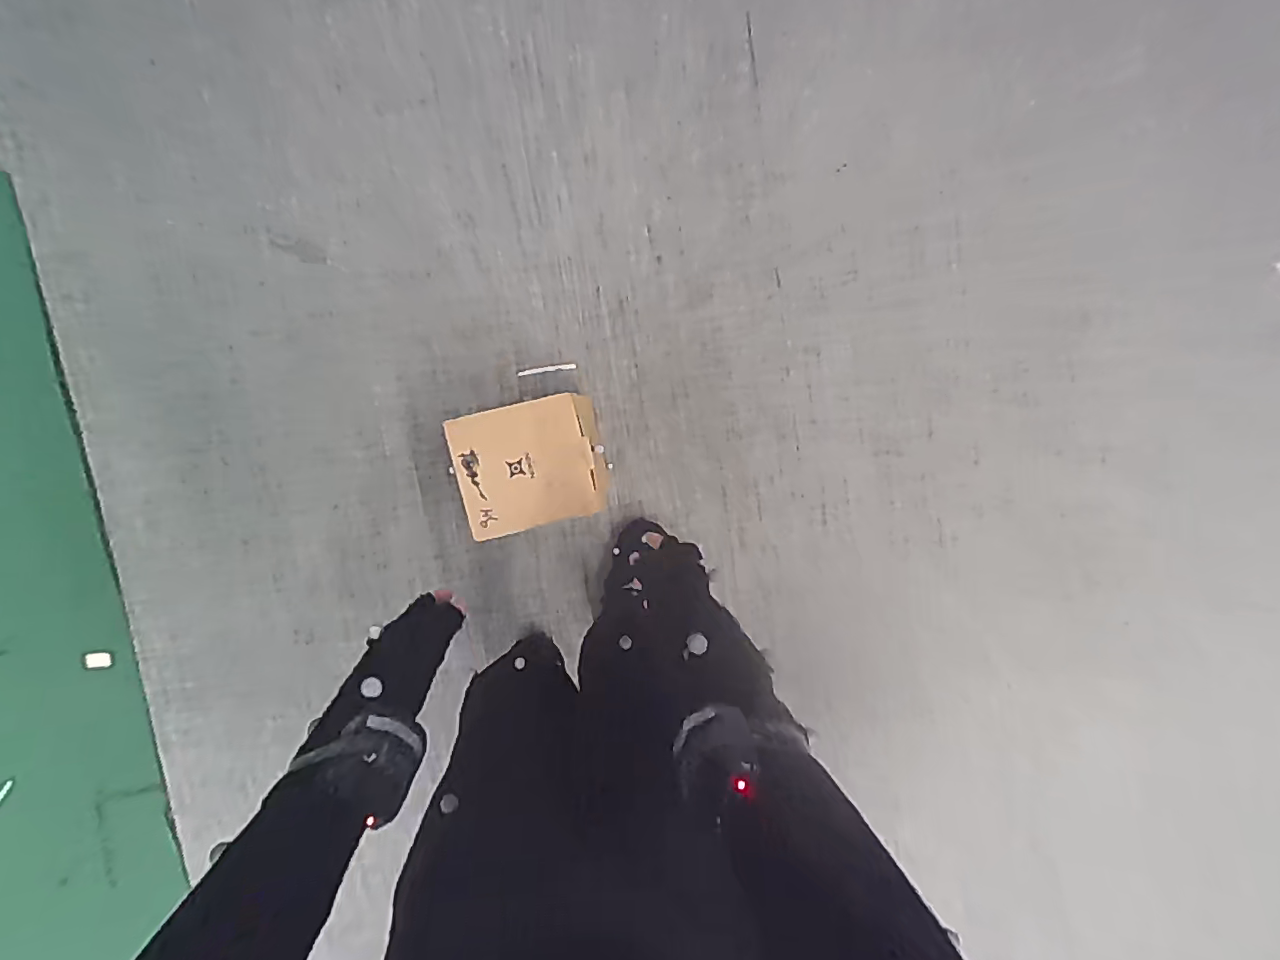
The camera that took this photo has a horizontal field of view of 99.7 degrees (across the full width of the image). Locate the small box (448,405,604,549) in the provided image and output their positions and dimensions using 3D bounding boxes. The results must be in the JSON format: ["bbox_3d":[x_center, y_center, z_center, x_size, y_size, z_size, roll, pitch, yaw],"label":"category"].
[{"bbox_3d":[-0.154,-0.012,0.793,0.179,0.176,0.168,-13,95,0],"label":"small box"}]

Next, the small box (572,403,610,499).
[{"bbox_3d":[-0.158,-0.032,0.955,0.179,0.176,0.168,-18,96,0],"label":"small box"}]
